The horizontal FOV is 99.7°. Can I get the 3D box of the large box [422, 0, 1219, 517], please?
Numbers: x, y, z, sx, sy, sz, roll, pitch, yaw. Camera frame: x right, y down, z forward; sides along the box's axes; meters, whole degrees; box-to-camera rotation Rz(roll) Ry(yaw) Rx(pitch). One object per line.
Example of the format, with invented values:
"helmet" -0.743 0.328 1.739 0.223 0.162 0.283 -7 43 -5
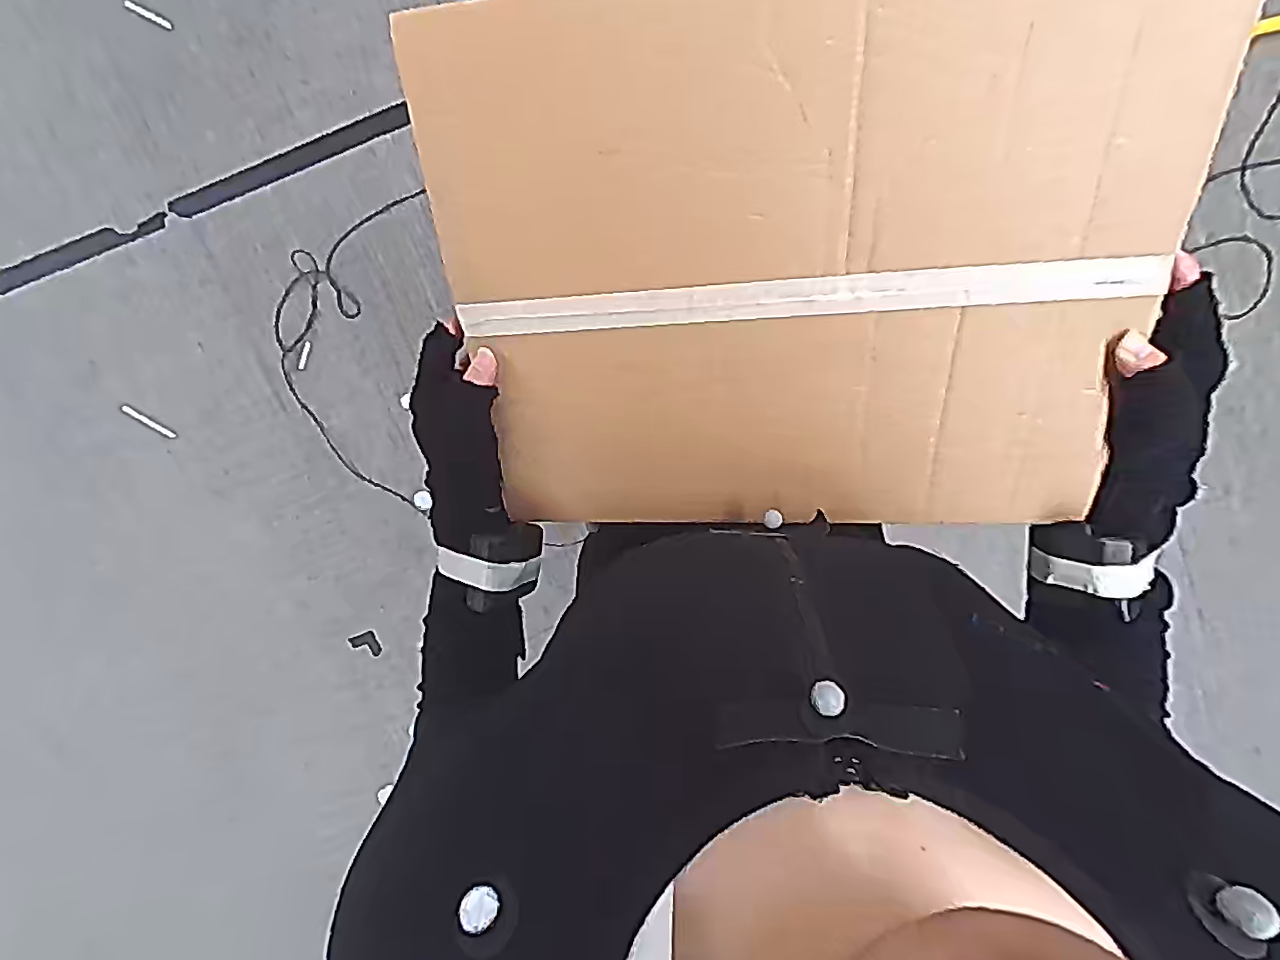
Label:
"large box" 0.103 -0.179 0.468 0.408 0.320 0.320 -1 119 9
